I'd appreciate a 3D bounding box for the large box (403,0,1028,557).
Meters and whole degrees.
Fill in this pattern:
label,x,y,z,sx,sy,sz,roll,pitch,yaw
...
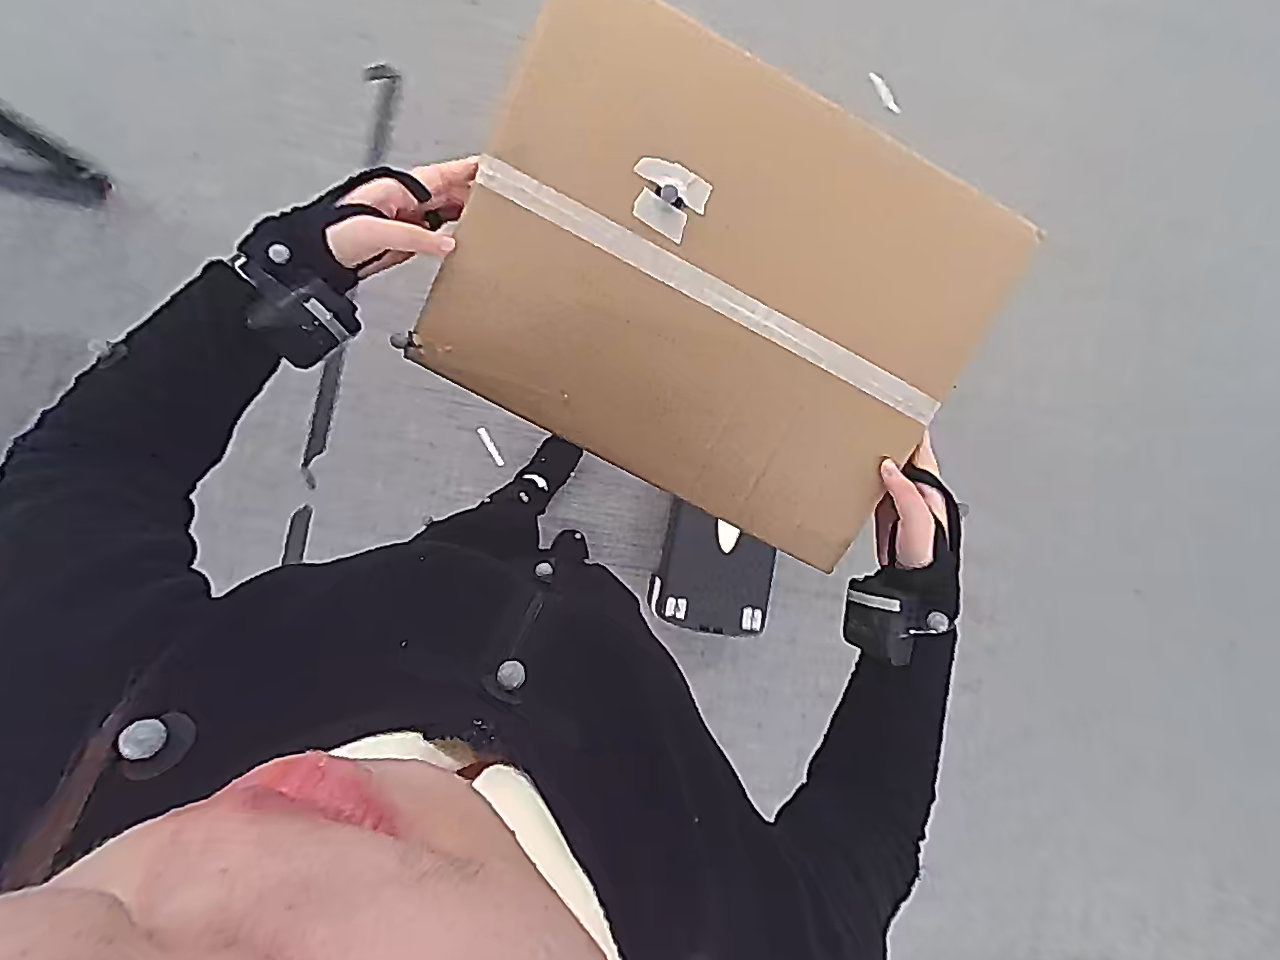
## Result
label,x,y,z,sx,sy,sz,roll,pitch,yaw
large box,0.054,-0.178,0.565,0.408,0.320,0.320,25,102,-4
